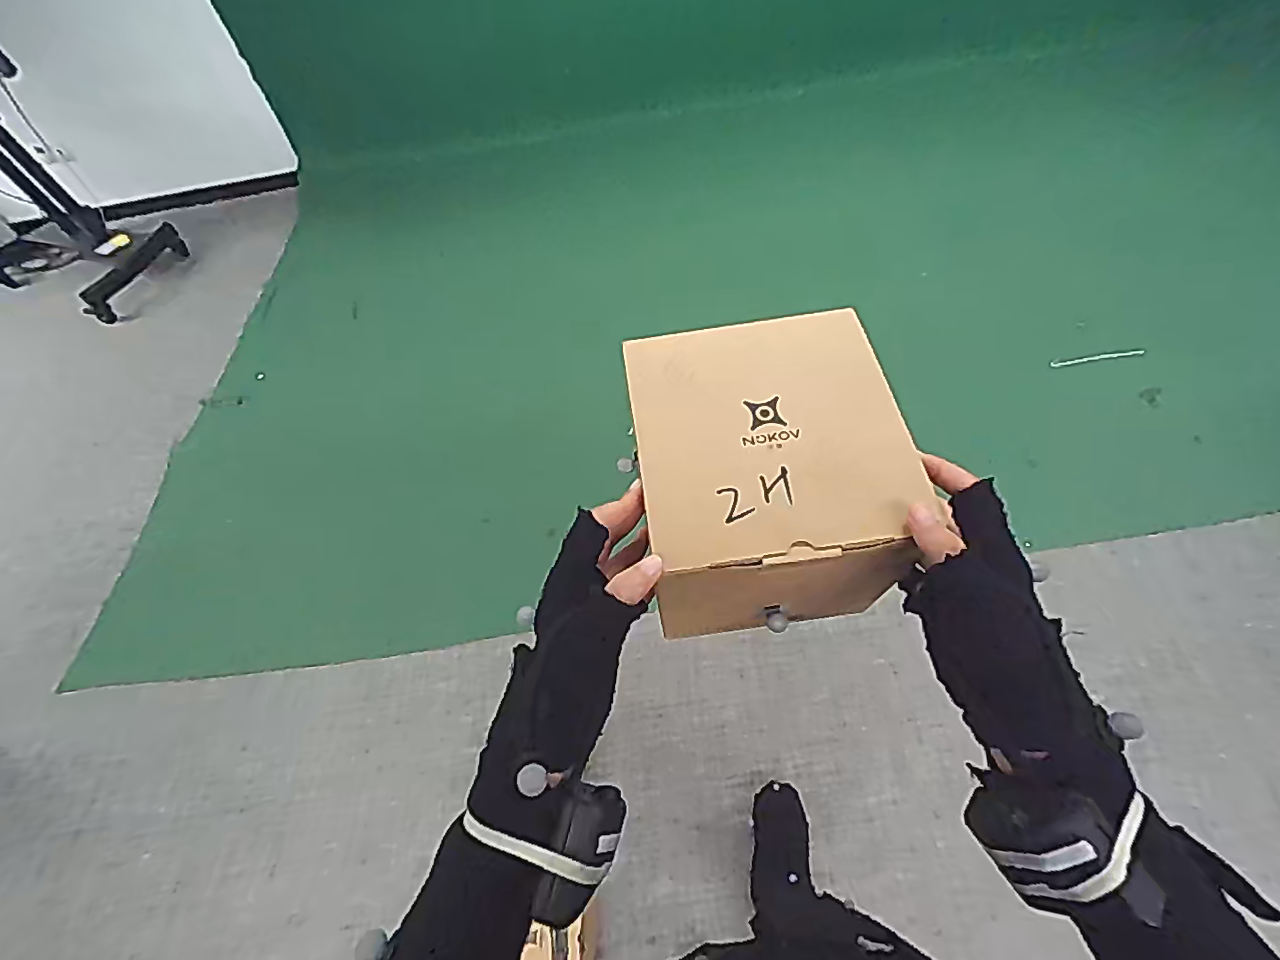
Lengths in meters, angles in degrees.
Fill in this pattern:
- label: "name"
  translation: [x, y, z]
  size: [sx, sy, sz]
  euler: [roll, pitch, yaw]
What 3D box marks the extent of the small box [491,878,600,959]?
- label: "small box"
  translation: [-0.179, 0.892, 1.069]
  size: [0.179, 0.176, 0.168]
  euler: [-4, 54, 6]
